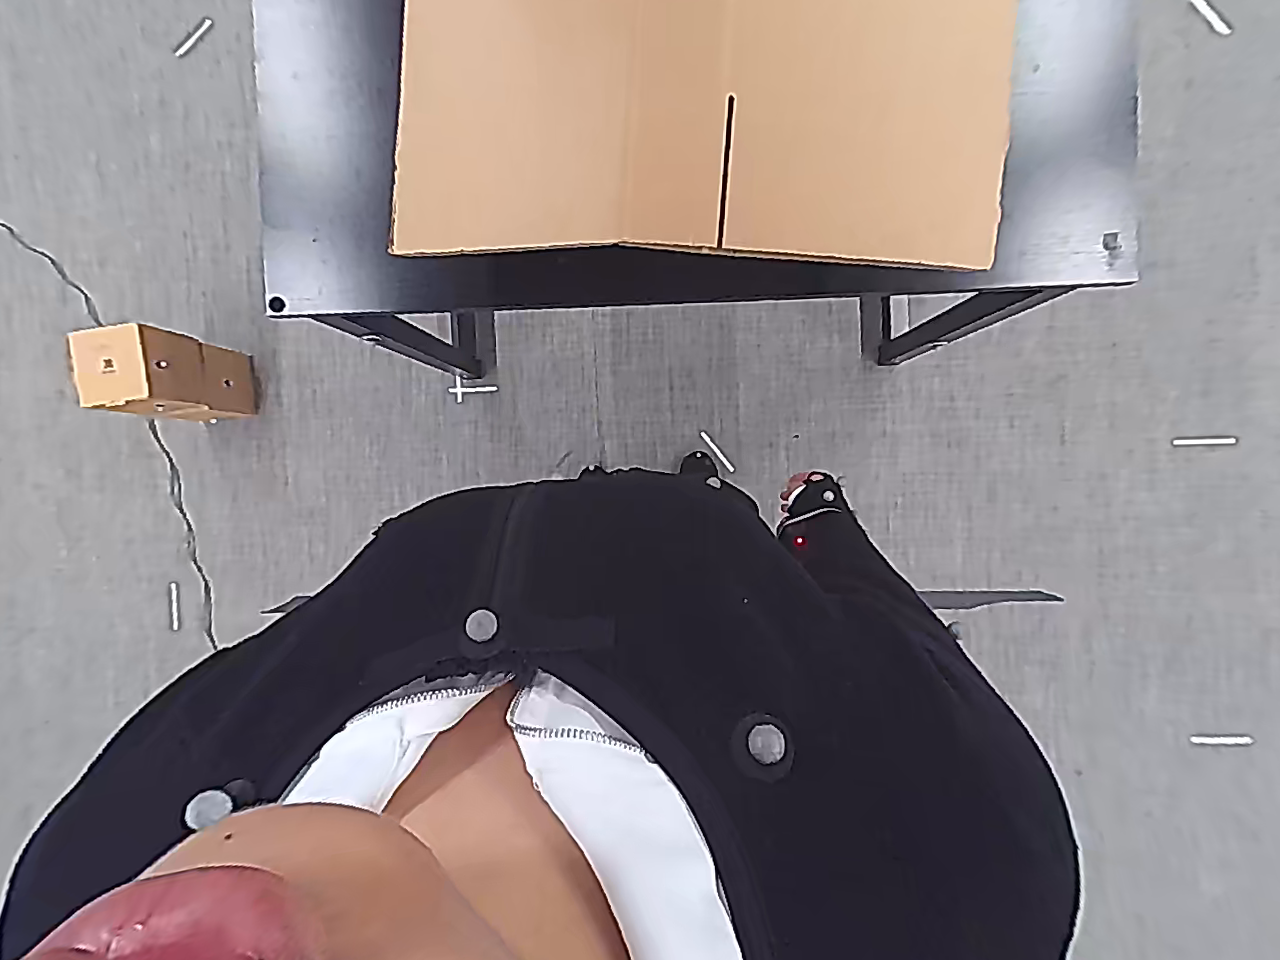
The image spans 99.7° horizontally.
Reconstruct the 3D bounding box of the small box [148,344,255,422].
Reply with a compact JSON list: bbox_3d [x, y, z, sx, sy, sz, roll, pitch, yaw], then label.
[{"bbox_3d":[-1.181,-0.254,1.456,0.168,0.176,0.179,-5,92,3],"label":"small box"}]

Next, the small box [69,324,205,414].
[{"bbox_3d":[-1.190,-0.255,1.293,0.168,0.176,0.179,-8,90,2],"label":"small box"}]
